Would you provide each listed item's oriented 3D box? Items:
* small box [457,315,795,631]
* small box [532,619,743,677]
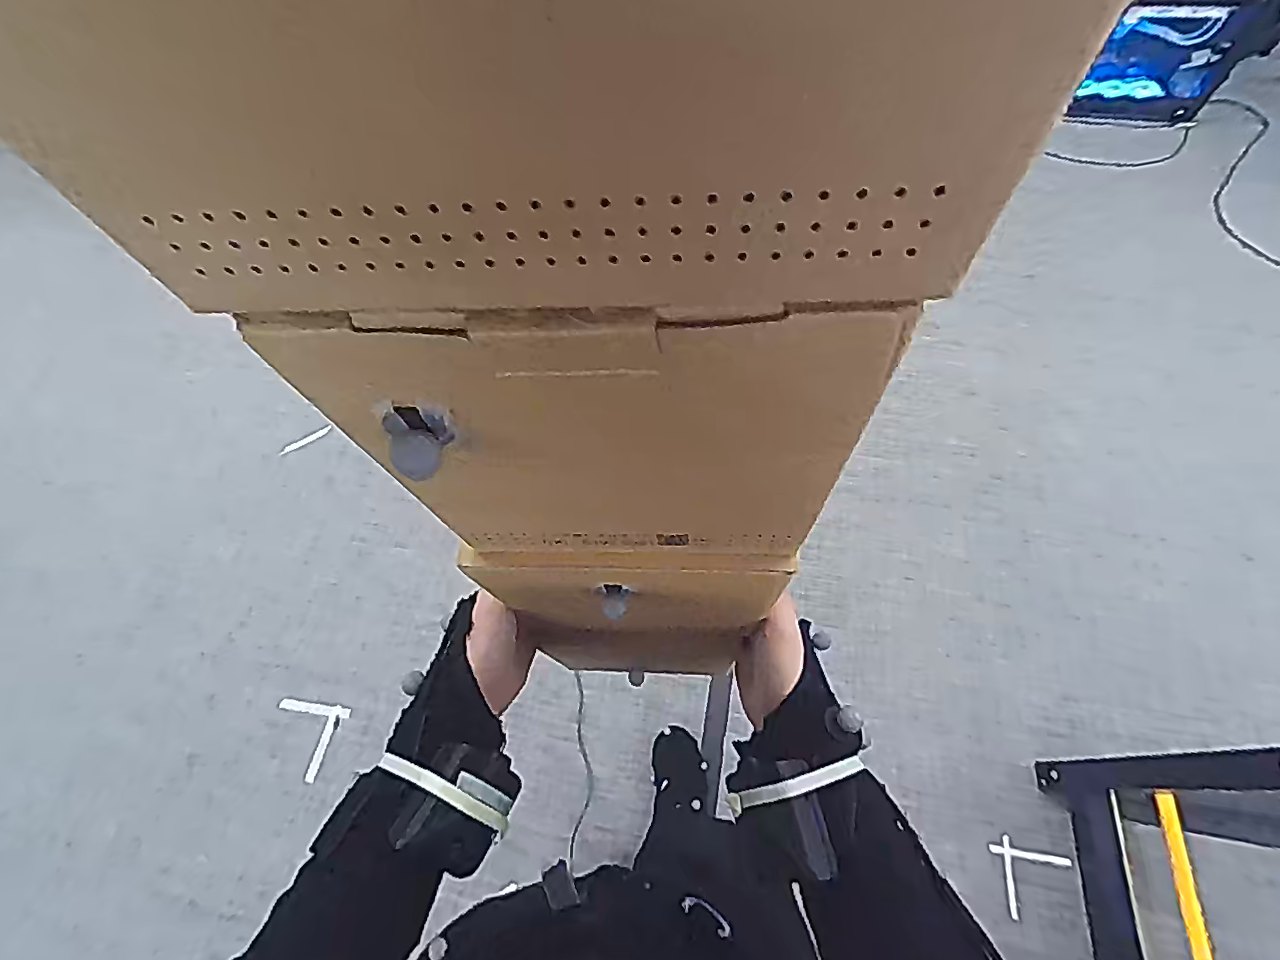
[{"bbox_3d":[-0.001,0.007,0.379,0.179,0.176,0.168,-1,64,5],"label":"small box"},{"bbox_3d":[0.006,0.086,0.521,0.168,0.176,0.179,0,65,5],"label":"small box"}]
